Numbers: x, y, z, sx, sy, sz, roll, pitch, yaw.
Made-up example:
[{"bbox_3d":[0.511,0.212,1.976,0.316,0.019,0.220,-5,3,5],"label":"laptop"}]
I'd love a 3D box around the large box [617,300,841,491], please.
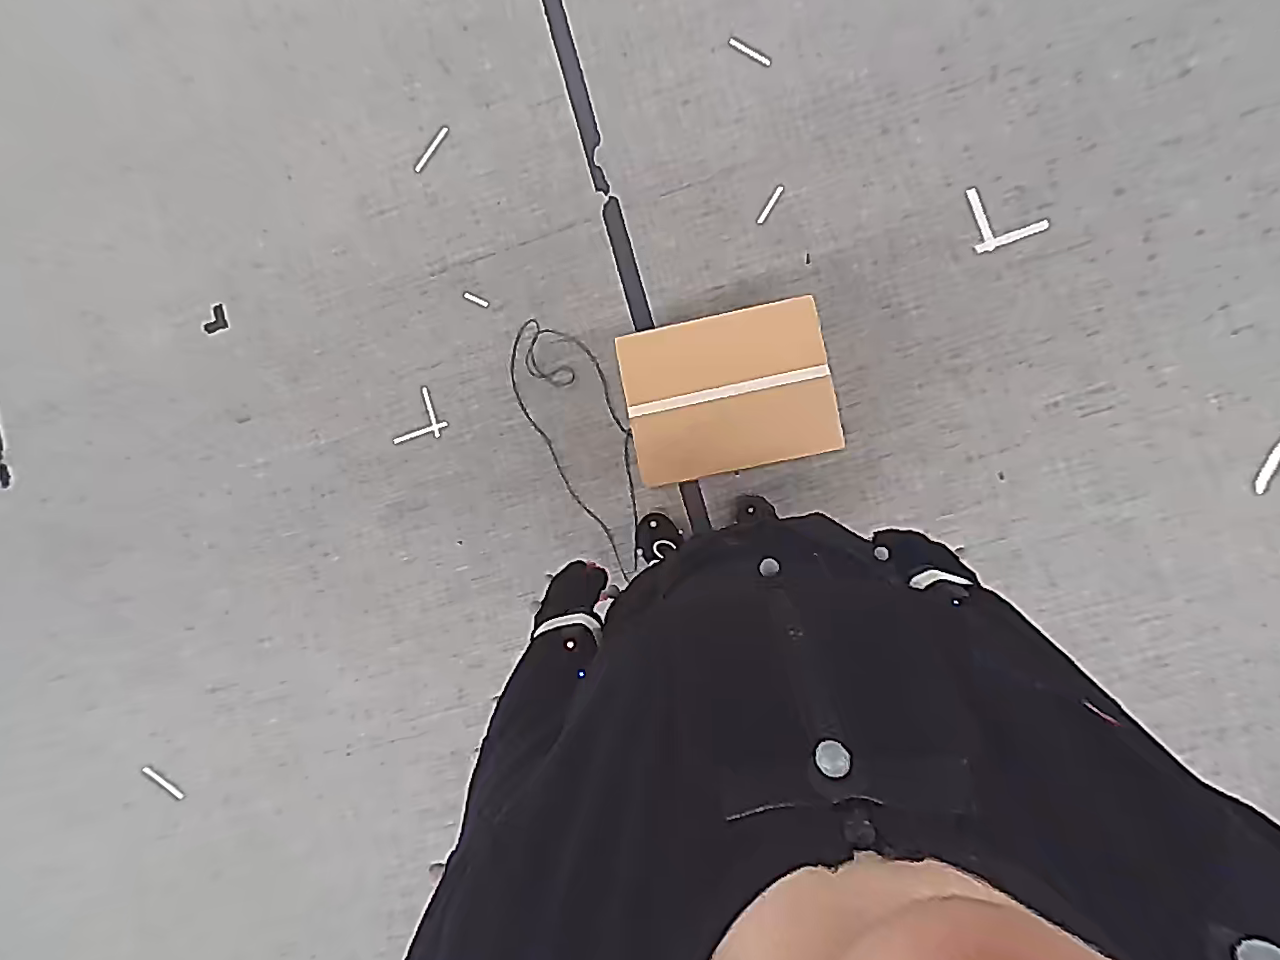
[{"bbox_3d":[0.184,-0.165,1.228,0.408,0.320,0.320,-11,88,4],"label":"large box"}]
